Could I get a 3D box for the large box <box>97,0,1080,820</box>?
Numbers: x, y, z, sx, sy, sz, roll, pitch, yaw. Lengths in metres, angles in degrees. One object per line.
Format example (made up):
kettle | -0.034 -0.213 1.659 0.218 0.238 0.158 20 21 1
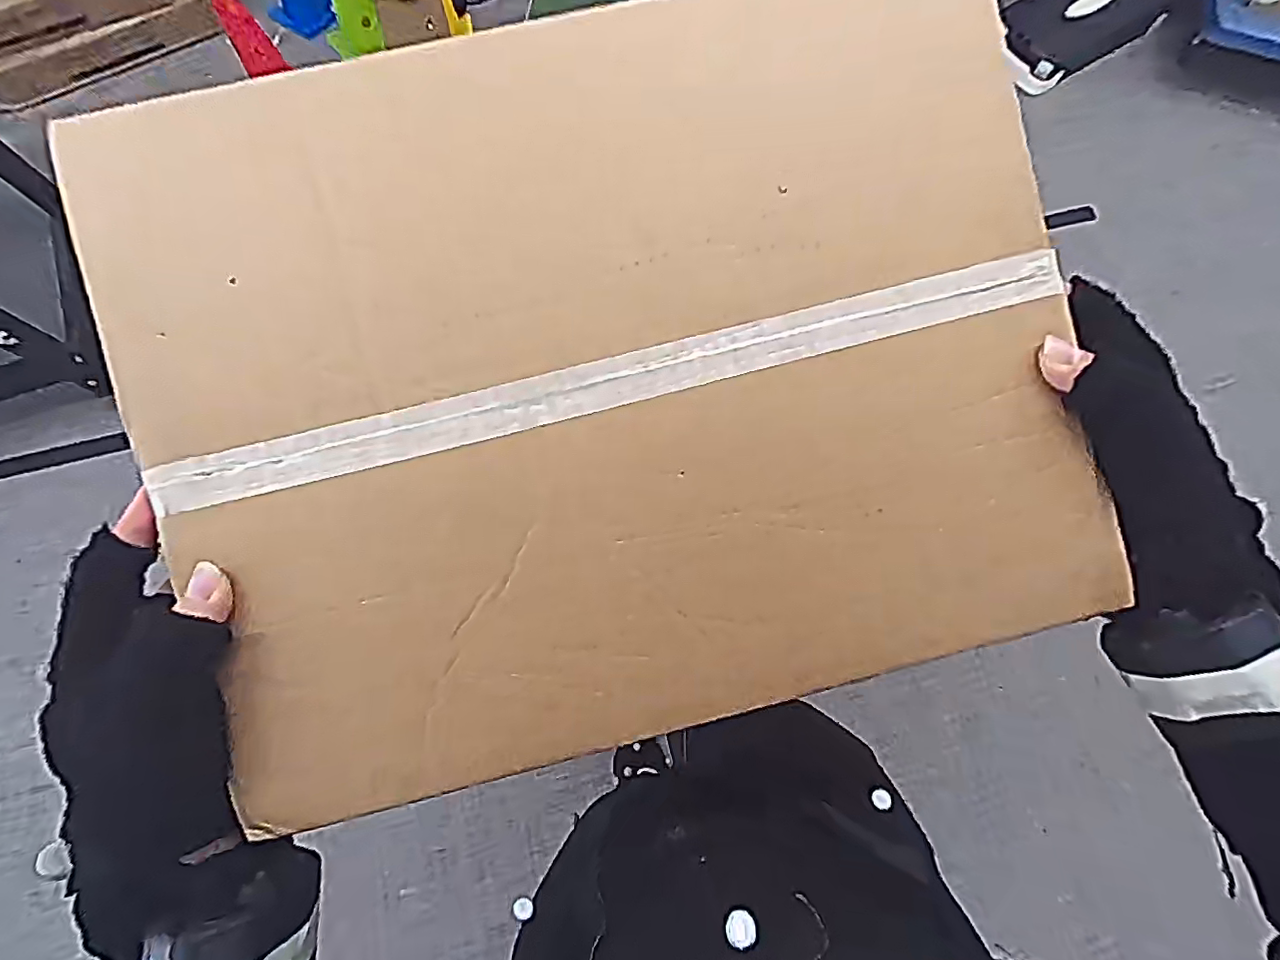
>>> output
large box | -0.017 -0.044 0.398 0.408 0.320 0.320 -14 91 -3
